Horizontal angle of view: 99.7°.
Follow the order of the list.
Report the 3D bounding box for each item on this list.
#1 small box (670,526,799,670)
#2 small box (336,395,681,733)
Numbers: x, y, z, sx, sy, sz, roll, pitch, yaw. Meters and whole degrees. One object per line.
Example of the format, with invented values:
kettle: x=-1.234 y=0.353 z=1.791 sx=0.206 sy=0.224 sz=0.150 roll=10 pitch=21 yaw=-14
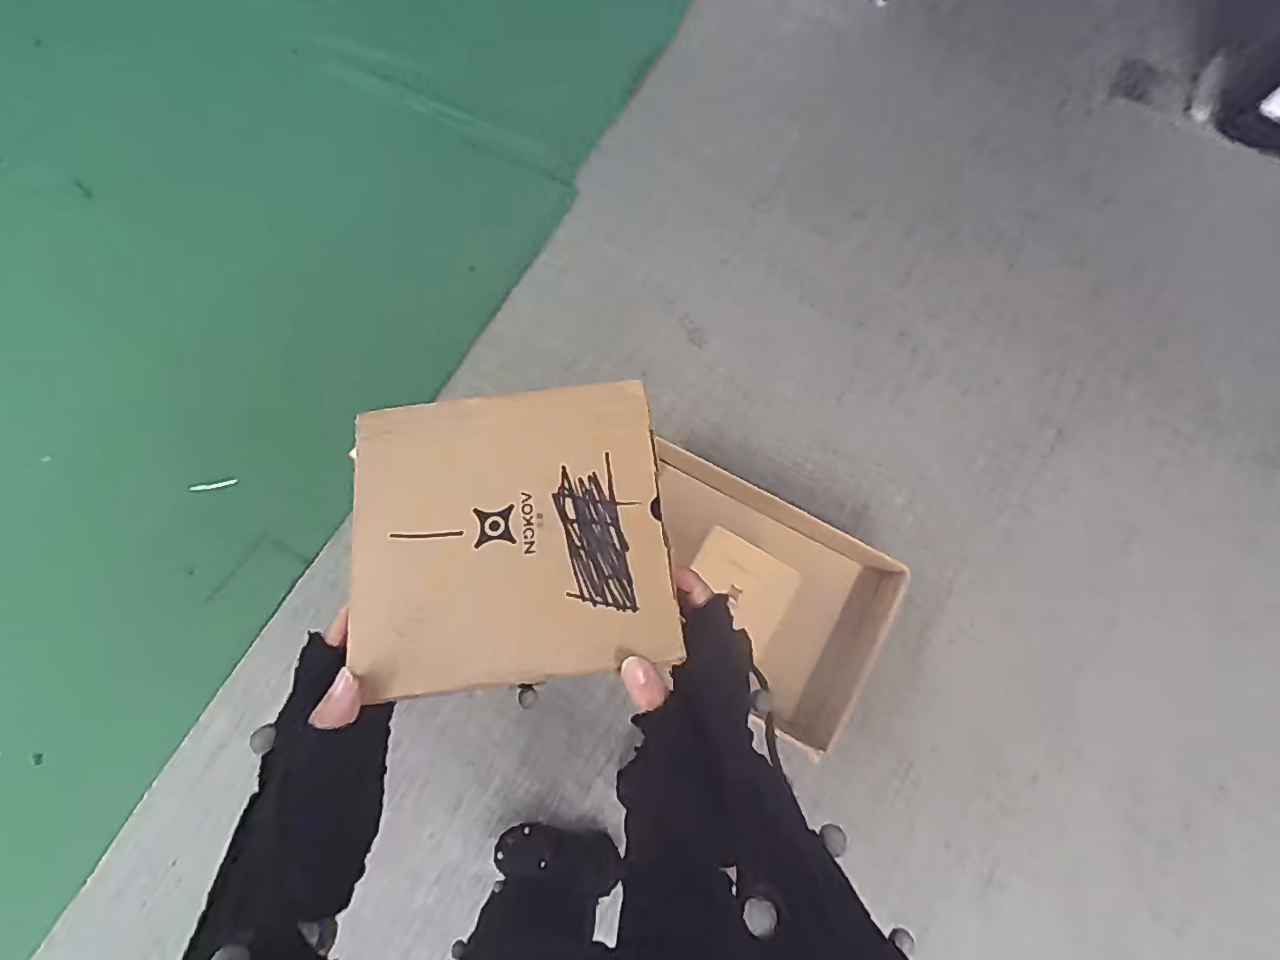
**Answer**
small box: x=0.152 y=0.205 z=0.949 sx=0.168 sy=0.176 sz=0.179 roll=30 pitch=80 yaw=9
small box: x=-0.081 y=0.061 z=0.375 sx=0.179 sy=0.176 sz=0.168 roll=-10 pitch=73 yaw=-5
